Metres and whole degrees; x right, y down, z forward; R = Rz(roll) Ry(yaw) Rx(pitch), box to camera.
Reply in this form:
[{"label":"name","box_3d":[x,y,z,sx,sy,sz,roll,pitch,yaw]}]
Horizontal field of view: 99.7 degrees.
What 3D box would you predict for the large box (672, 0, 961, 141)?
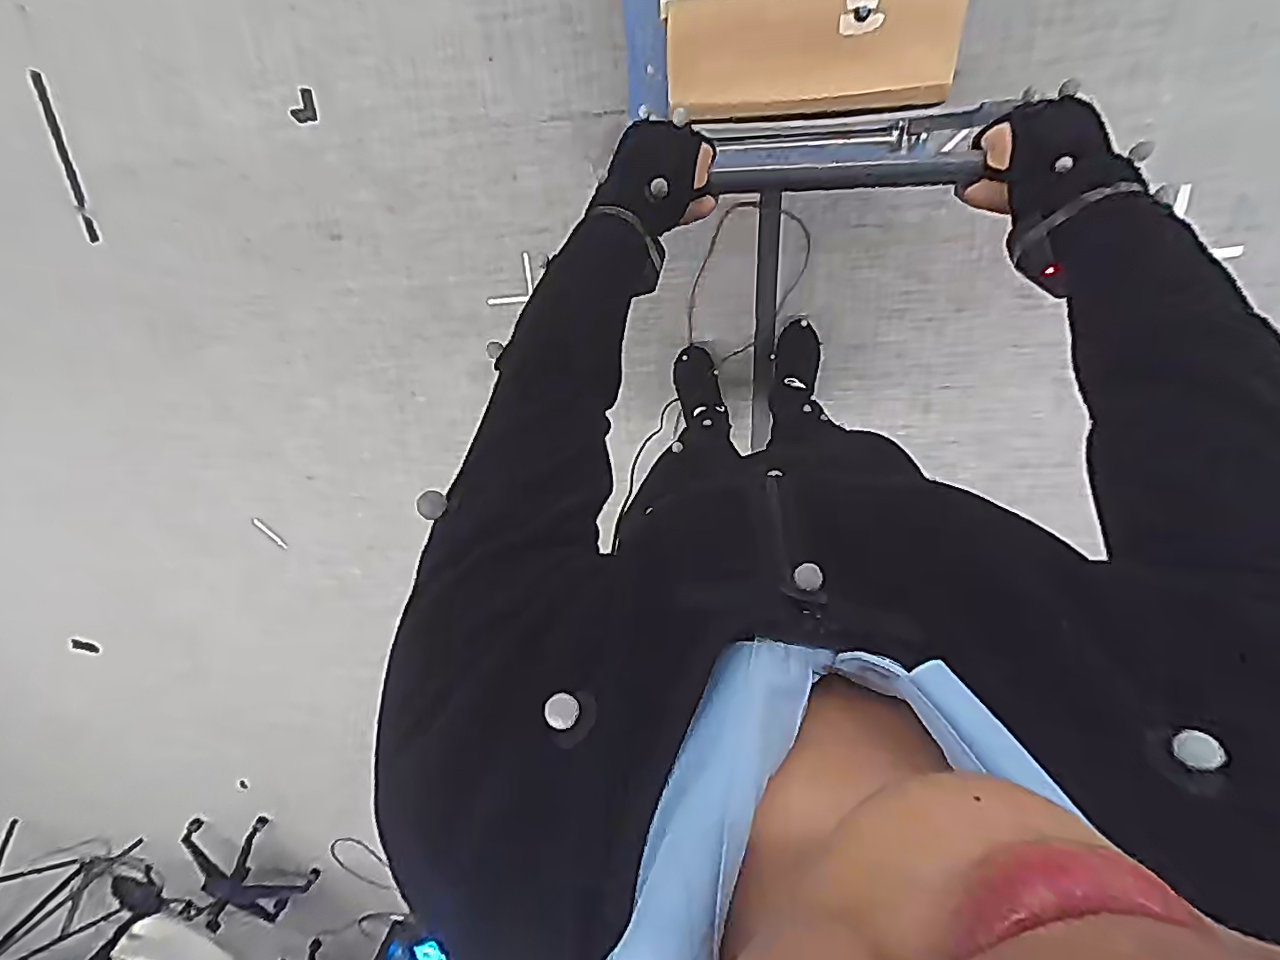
[{"label":"large box","box_3d":[0.258,-0.762,0.878,0.408,0.320,0.320,0,118,7]}]
